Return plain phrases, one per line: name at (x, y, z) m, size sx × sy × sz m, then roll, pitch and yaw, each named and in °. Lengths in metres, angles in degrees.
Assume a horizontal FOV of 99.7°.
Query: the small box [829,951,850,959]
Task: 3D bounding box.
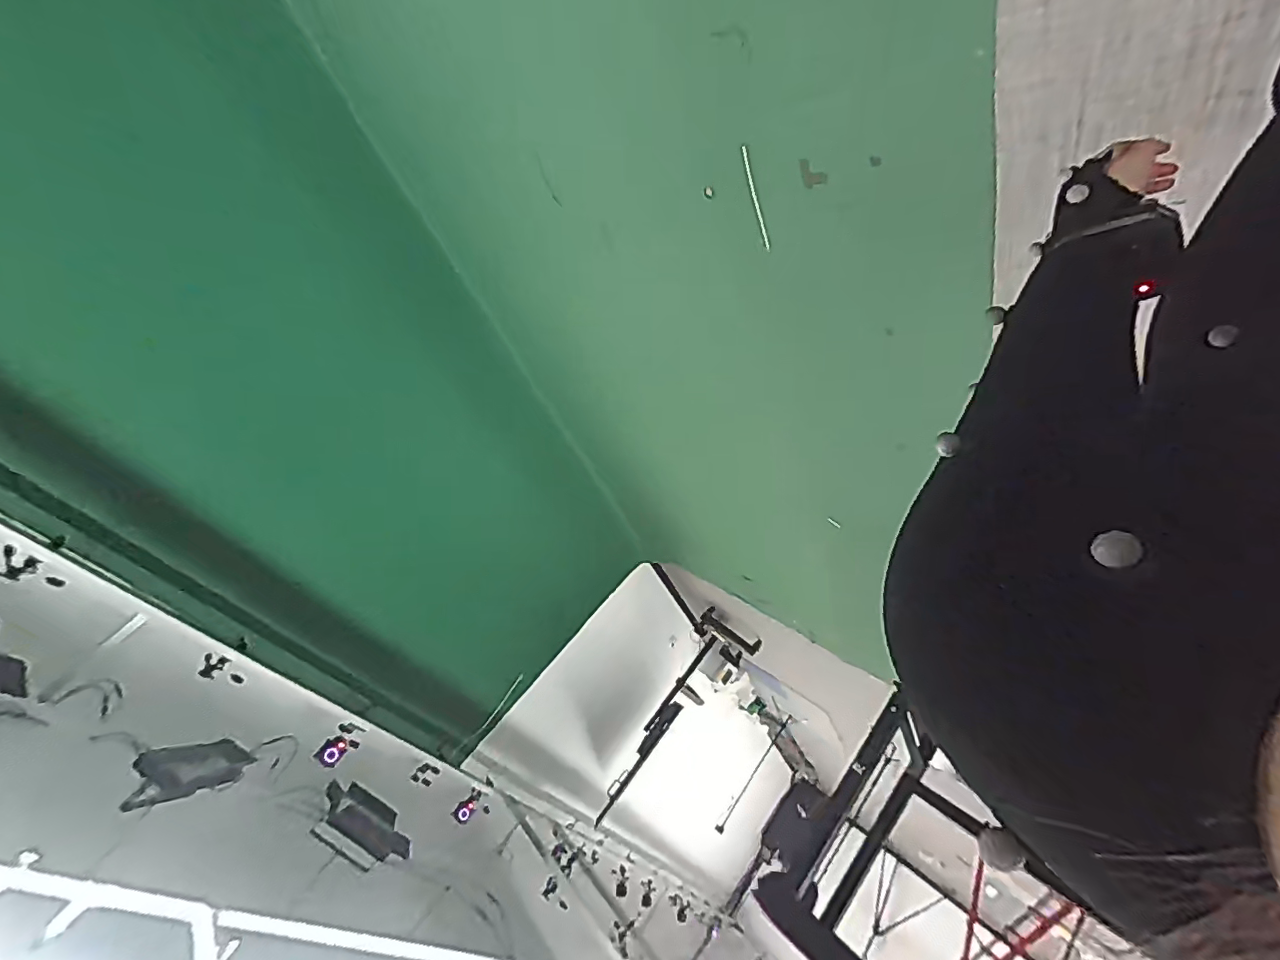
small box at (0.539, 1.354, 1.377) m, size 0.168 × 0.176 × 0.179 m, roll 24°, pitch 153°, yaw 44°
